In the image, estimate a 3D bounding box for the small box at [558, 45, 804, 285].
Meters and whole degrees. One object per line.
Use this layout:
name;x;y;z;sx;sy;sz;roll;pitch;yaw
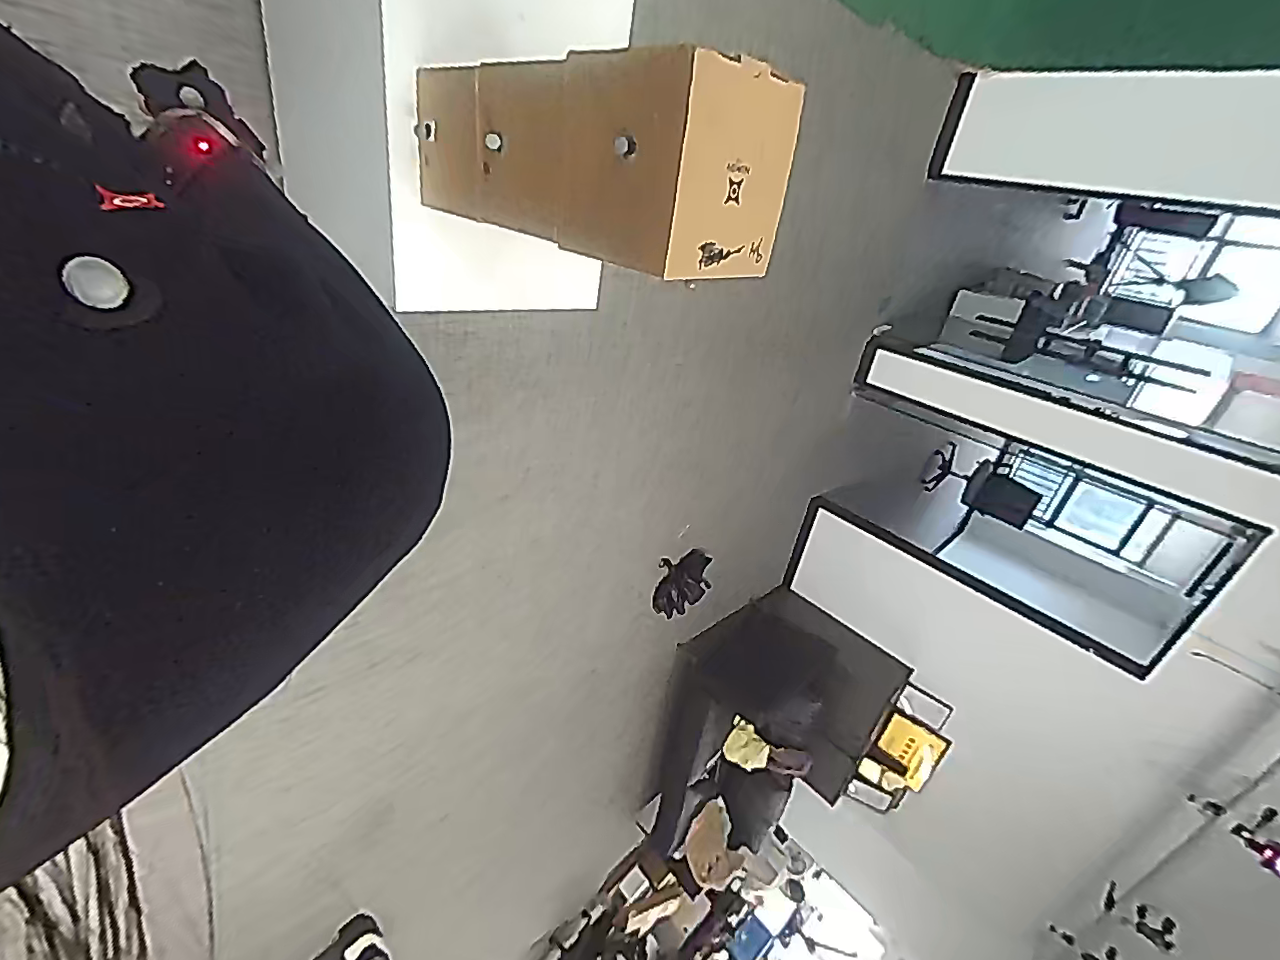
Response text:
small box;0.032;-0.302;0.542;0.168;0.176;0.179;-19;128;-39

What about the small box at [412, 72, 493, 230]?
small box;-0.188;-0.441;0.742;0.179;0.176;0.168;-18;128;-39

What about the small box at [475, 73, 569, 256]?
small box;-0.075;-0.371;0.646;0.179;0.176;0.168;-22;131;-40
